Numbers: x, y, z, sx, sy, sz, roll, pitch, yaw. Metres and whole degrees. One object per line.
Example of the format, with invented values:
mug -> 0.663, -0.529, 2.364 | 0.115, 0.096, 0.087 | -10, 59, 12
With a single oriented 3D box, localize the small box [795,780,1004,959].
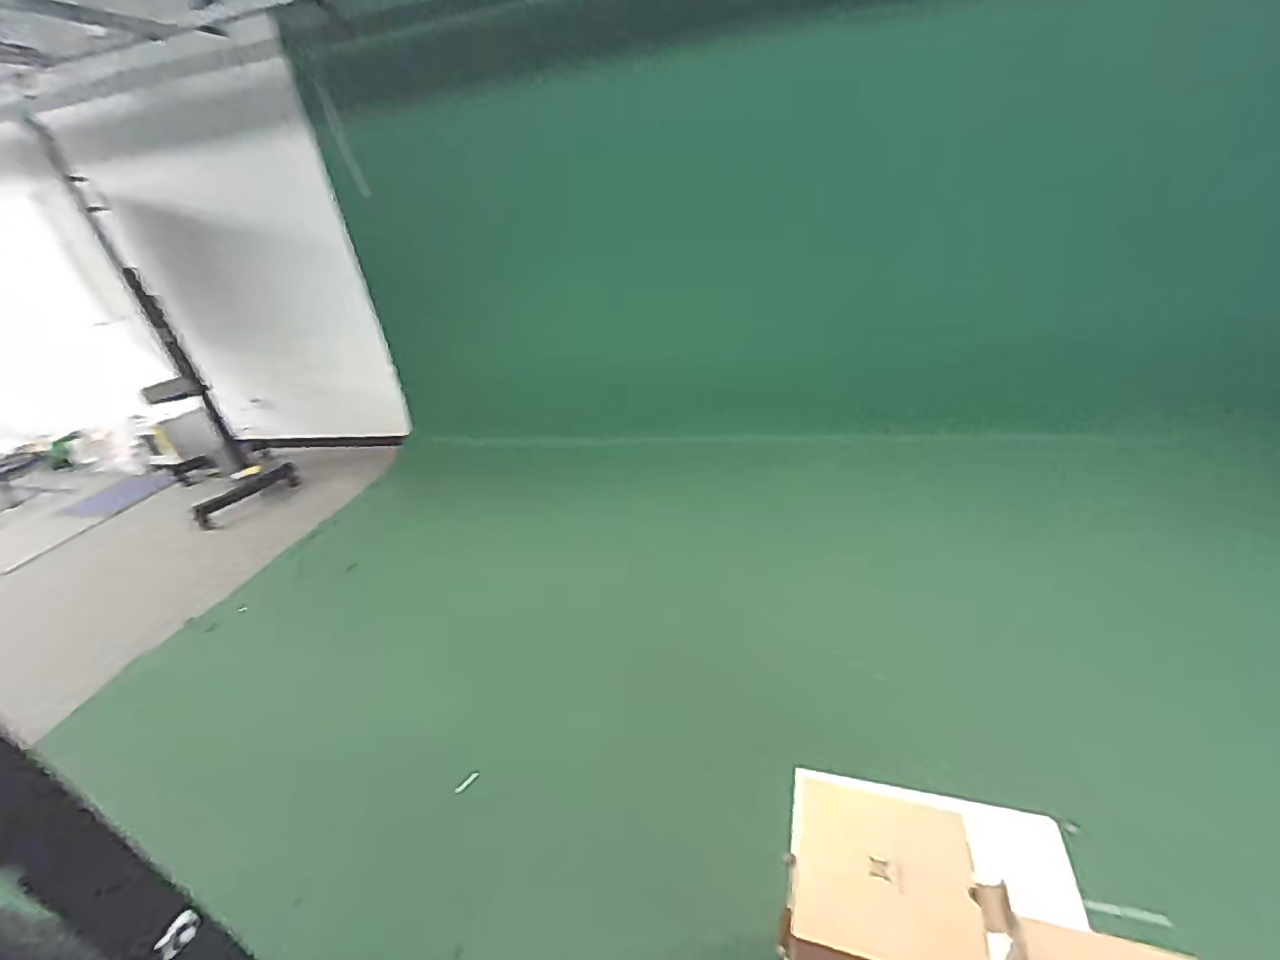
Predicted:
small box -> 0.261, 0.465, 0.578 | 0.179, 0.176, 0.168 | 4, 31, 18

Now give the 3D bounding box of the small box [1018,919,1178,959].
small box -> 0.513, 0.620, 0.568 | 0.179, 0.176, 0.168 | 3, 32, 21
